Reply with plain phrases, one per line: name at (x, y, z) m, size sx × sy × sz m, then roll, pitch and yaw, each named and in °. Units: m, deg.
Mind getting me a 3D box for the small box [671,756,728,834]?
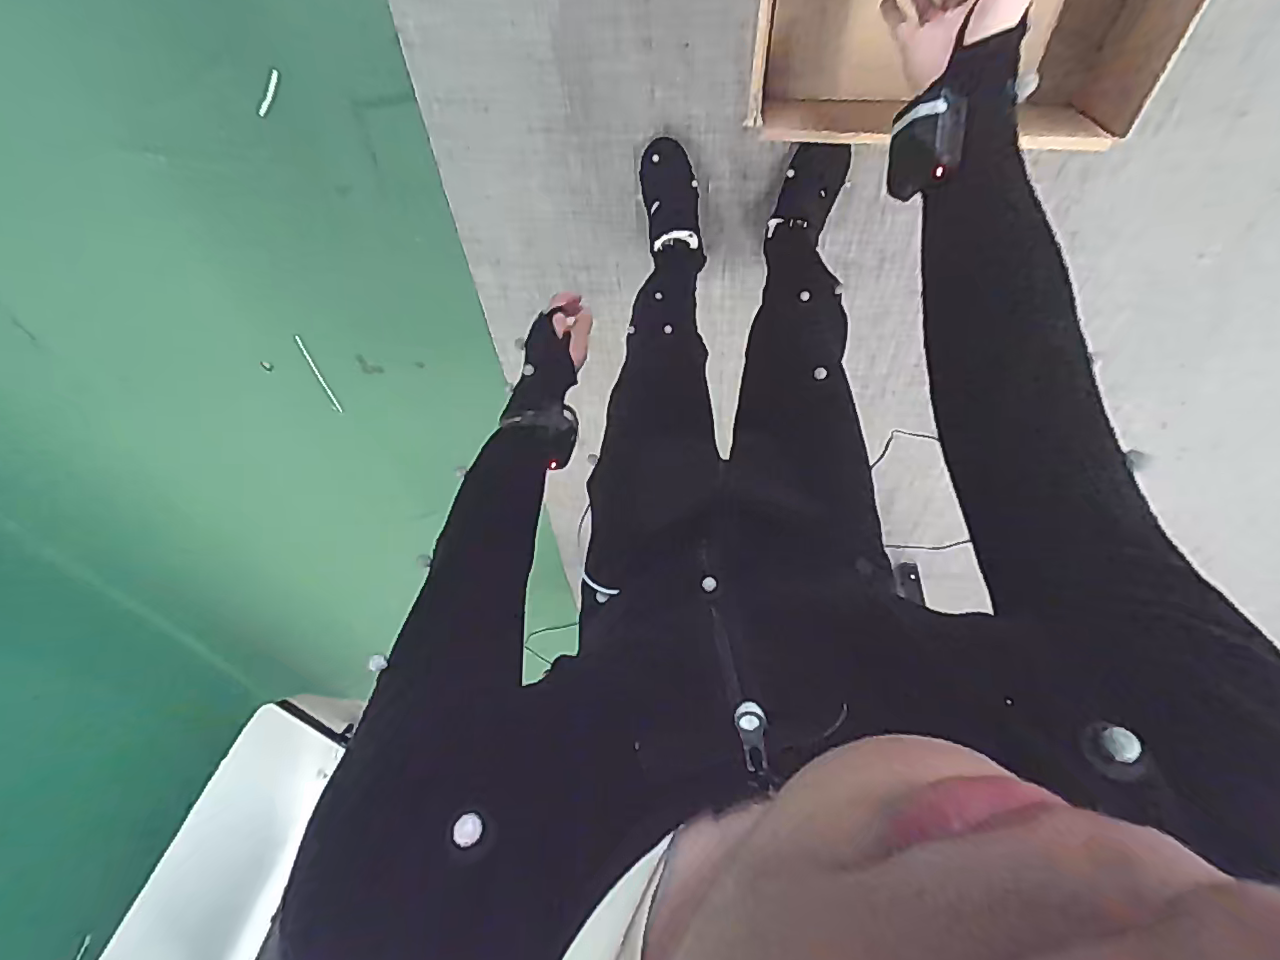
small box at (0.196, 1.016, 1.746) m, size 0.168 × 0.176 × 0.179 m, roll 3°, pitch 137°, yaw 10°
